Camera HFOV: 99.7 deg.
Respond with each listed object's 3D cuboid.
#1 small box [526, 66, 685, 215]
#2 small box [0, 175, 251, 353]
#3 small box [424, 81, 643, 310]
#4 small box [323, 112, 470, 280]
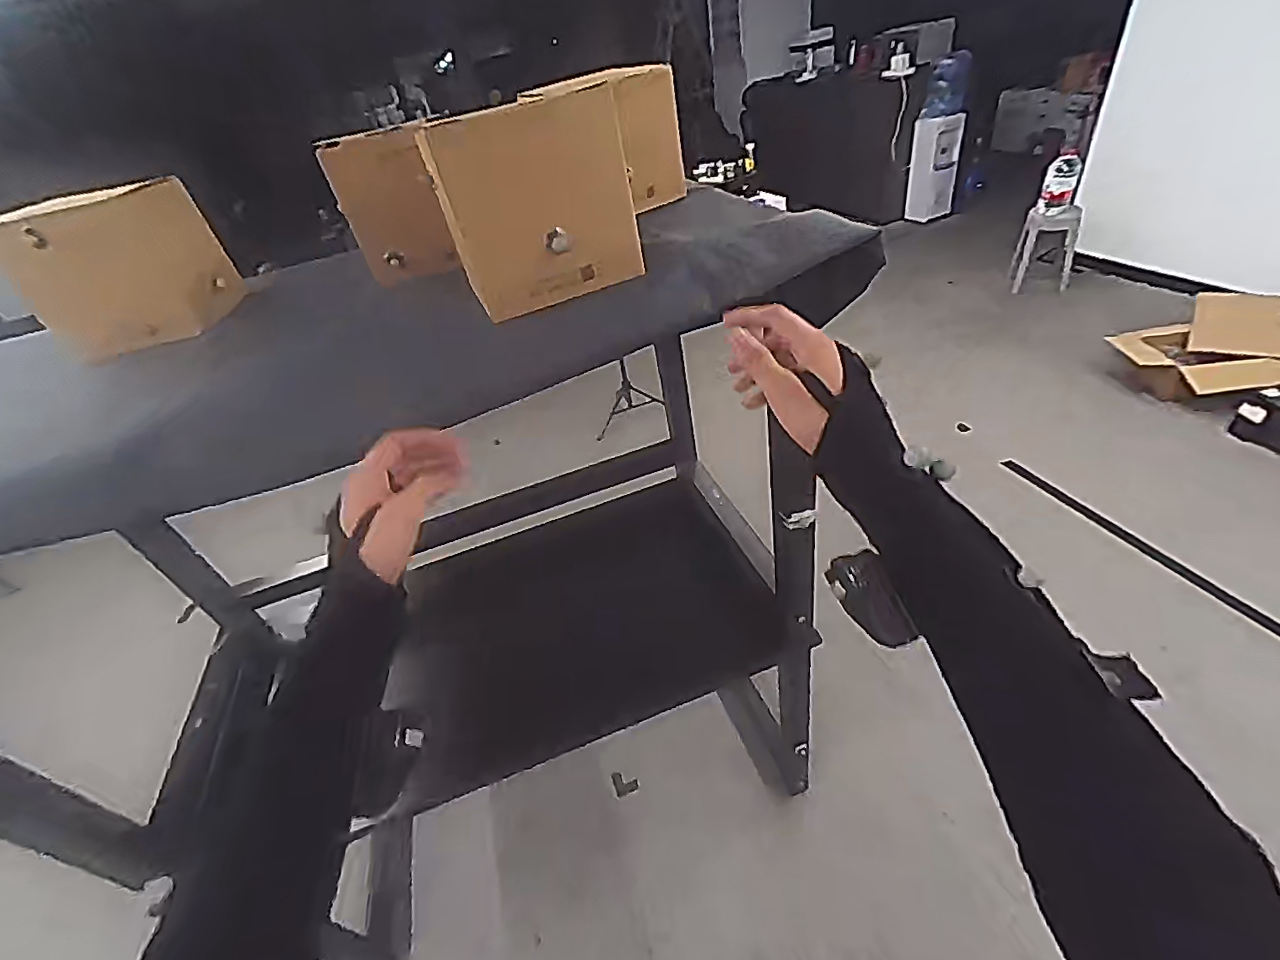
[{"bbox_3d":[-0.049,-0.501,0.815,0.168,0.176,0.179,-27,42,-16],"label":"small box"},{"bbox_3d":[-0.671,-0.291,0.726,0.168,0.176,0.179,-16,38,-5],"label":"small box"},{"bbox_3d":[-0.111,-0.295,0.569,0.168,0.176,0.179,-22,37,-11],"label":"small box"},{"bbox_3d":[-0.309,-0.395,0.757,0.168,0.176,0.179,-20,38,-10],"label":"small box"}]
